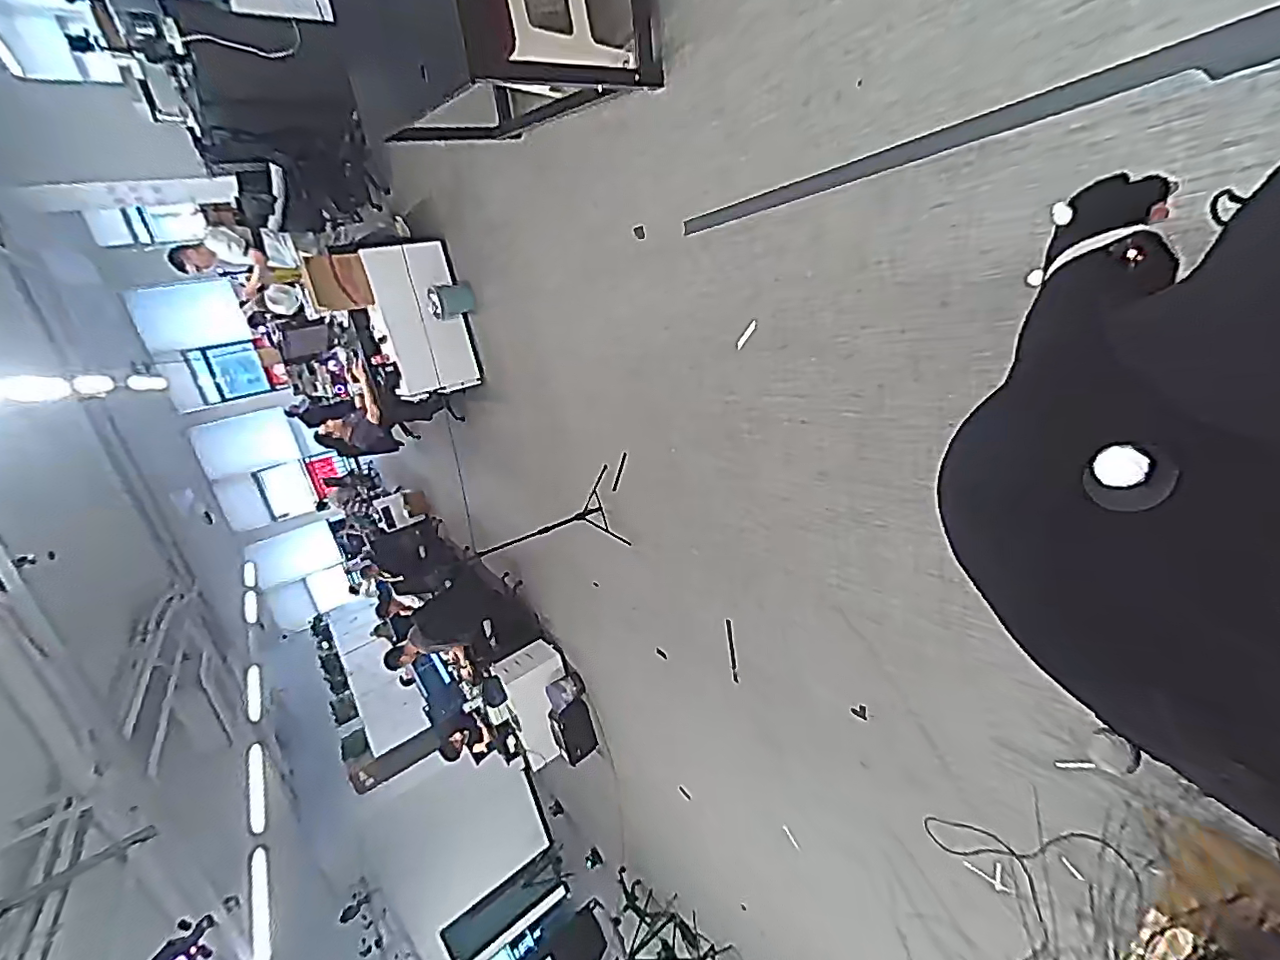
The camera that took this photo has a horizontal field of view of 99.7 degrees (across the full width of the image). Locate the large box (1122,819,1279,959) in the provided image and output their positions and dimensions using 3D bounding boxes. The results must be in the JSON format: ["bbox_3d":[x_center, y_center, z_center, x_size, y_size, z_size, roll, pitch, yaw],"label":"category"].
[{"bbox_3d":[1.429,1.103,1.233,0.408,0.320,0.320,23,128,47],"label":"large box"}]
